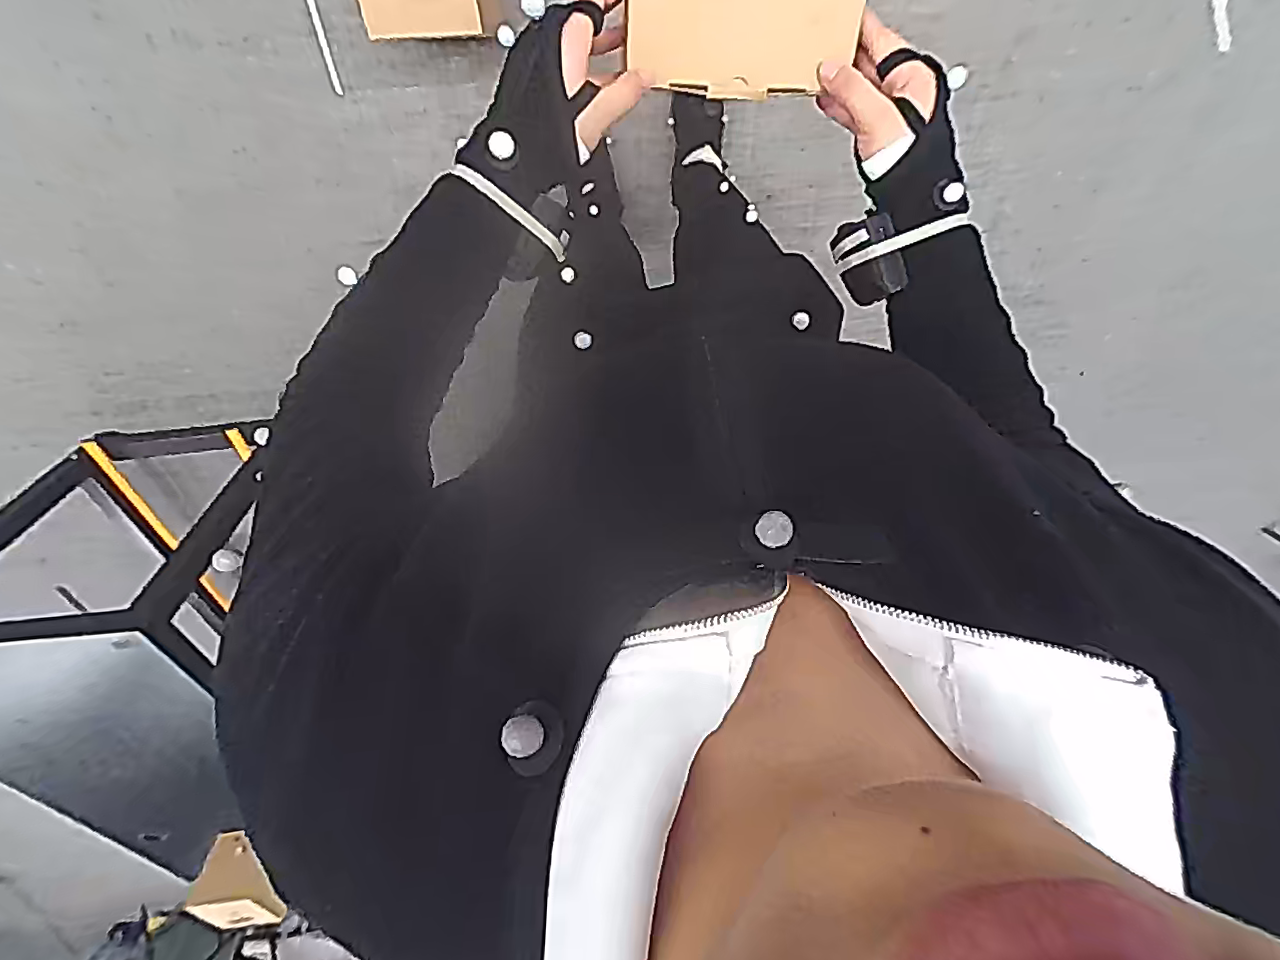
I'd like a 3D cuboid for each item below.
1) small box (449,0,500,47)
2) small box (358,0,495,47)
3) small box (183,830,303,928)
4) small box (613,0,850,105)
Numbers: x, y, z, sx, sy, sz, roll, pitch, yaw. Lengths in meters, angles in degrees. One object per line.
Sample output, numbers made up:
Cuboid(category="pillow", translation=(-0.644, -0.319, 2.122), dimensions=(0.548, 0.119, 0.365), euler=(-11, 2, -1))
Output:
Cuboid(category="small box", translation=(-0.344, -0.853, 0.929), dimensions=(0.179, 0.176, 0.168), euler=(-4, 129, -3))
Cuboid(category="small box", translation=(-0.322, -0.756, 0.800), dimensions=(0.168, 0.176, 0.179), euler=(-4, 130, -2))
Cuboid(category="small box", translation=(-1.051, 1.069, 1.453), dimensions=(0.168, 0.176, 0.179), euler=(-7, 128, -1))
Cuboid(category="small box", translation=(0.065, -0.409, 0.424), dimensions=(0.168, 0.176, 0.179), euler=(-1, 127, -5))
